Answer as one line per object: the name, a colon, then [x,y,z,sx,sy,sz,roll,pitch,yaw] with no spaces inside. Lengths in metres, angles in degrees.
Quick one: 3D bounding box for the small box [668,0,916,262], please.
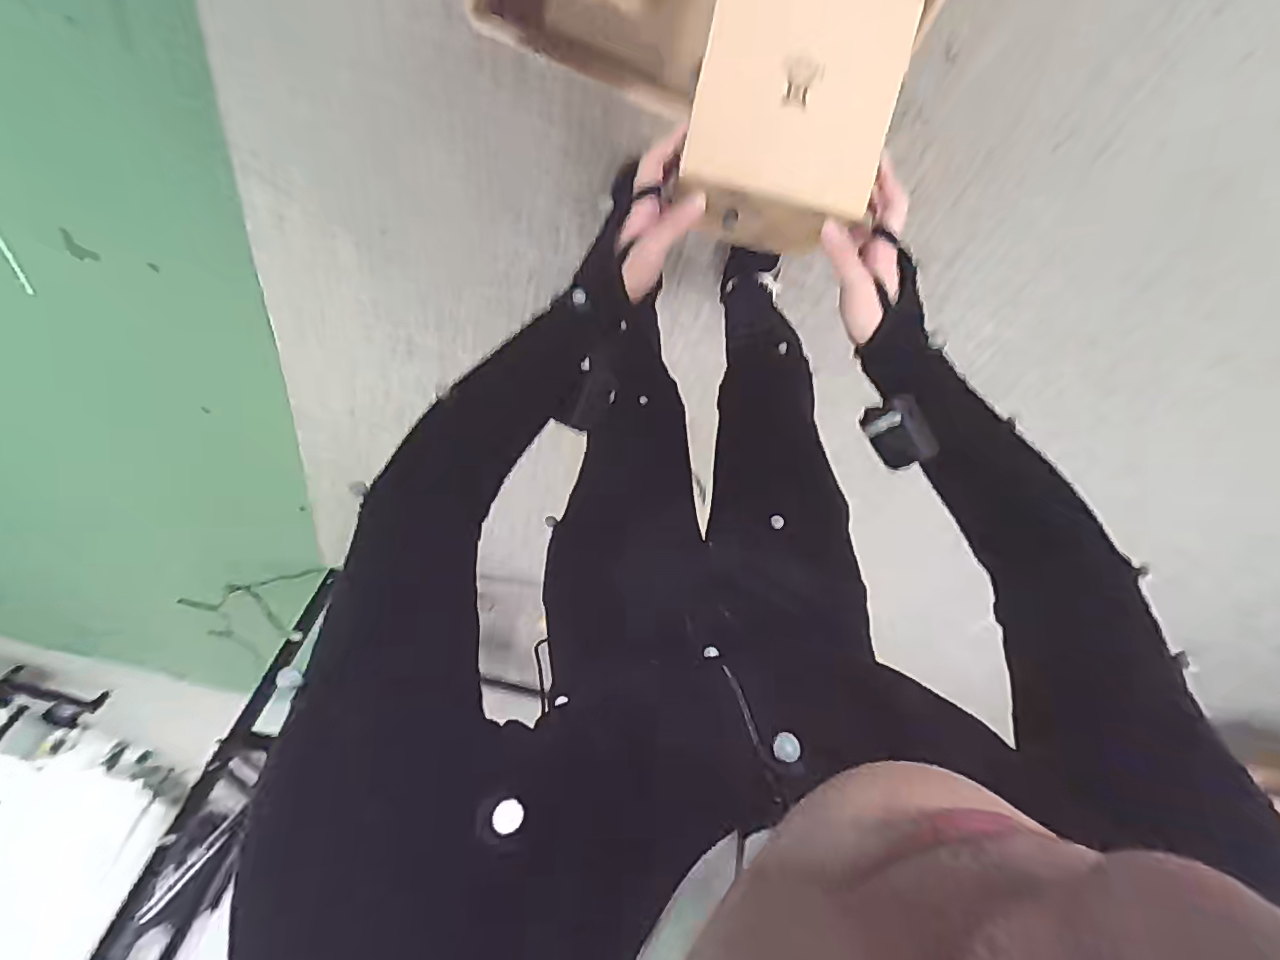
small box: [0.125,-0.329,0.520,0.168,0.176,0.179,12,98,-1]
